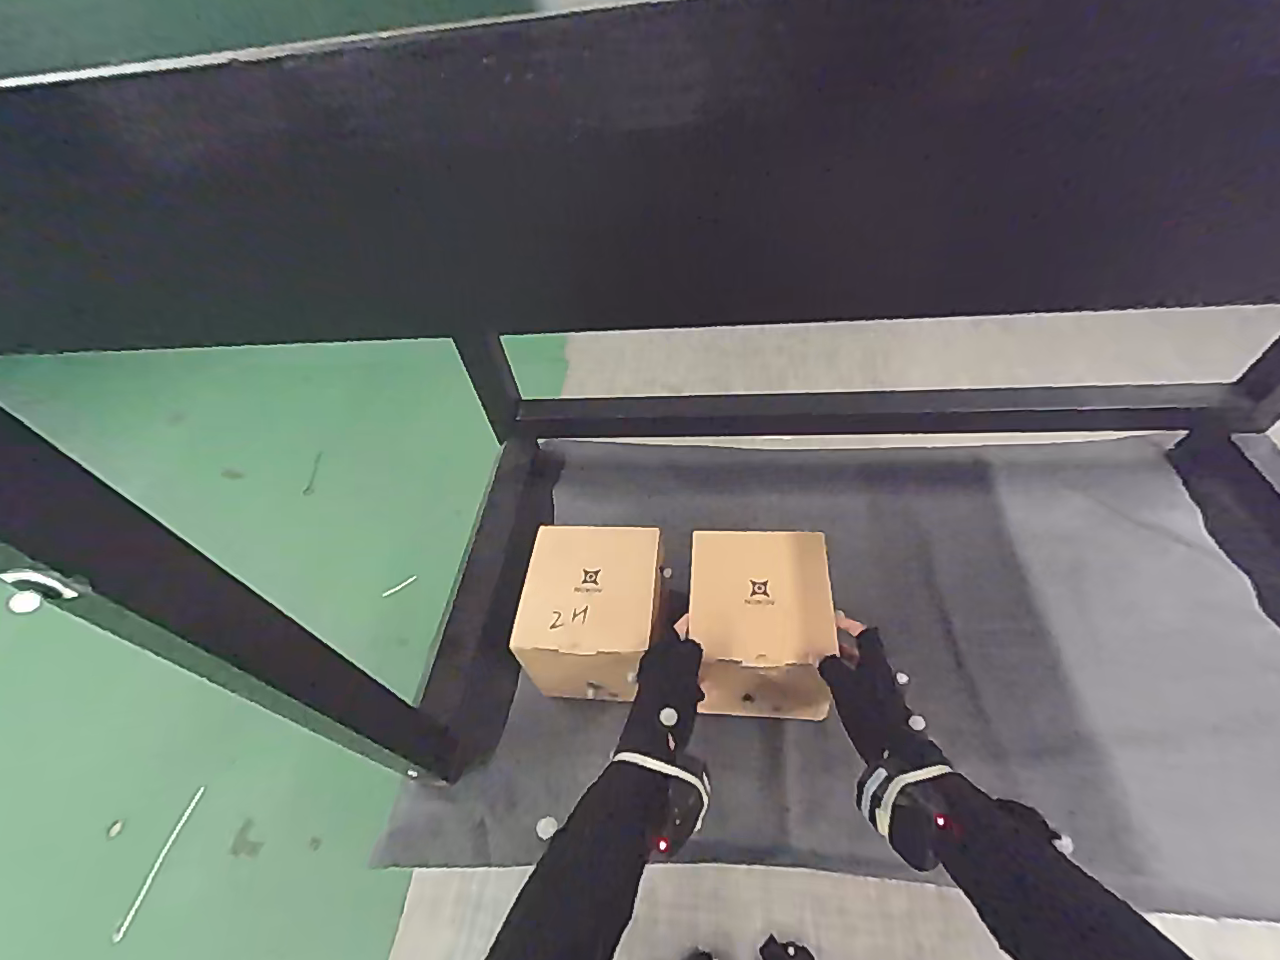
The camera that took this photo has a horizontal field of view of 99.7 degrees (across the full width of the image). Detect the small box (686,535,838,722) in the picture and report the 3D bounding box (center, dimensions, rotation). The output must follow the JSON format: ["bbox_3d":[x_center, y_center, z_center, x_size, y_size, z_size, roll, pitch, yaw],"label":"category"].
[{"bbox_3d":[0.149,0.191,0.698,0.168,0.176,0.179,-1,49,10],"label":"small box"}]

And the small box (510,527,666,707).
[{"bbox_3d":[-0.055,0.185,0.731,0.168,0.176,0.179,1,49,9],"label":"small box"}]
